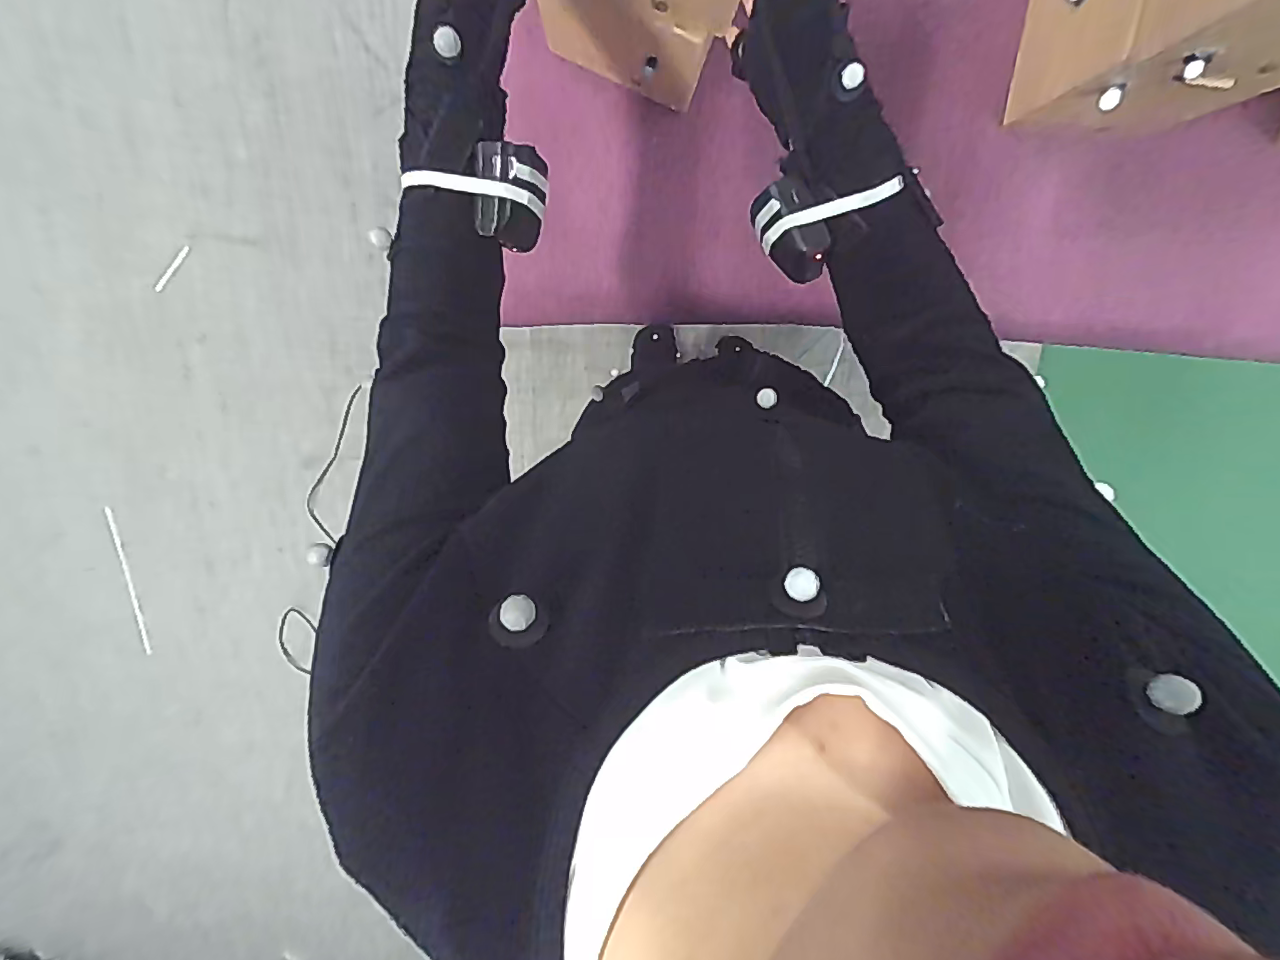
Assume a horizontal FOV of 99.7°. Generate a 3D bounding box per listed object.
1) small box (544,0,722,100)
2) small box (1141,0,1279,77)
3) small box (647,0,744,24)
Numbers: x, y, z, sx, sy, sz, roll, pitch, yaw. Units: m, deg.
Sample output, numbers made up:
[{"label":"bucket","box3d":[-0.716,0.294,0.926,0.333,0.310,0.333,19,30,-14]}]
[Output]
[{"label":"small box","box3d":[0.012,-0.493,0.490,0.168,0.176,0.179,21,104,-8]},{"label":"small box","box3d":[0.509,-0.411,0.370,0.168,0.176,0.179,2,105,-2]},{"label":"small box","box3d":[0.016,-0.449,0.352,0.168,0.176,0.179,9,106,-4]}]
